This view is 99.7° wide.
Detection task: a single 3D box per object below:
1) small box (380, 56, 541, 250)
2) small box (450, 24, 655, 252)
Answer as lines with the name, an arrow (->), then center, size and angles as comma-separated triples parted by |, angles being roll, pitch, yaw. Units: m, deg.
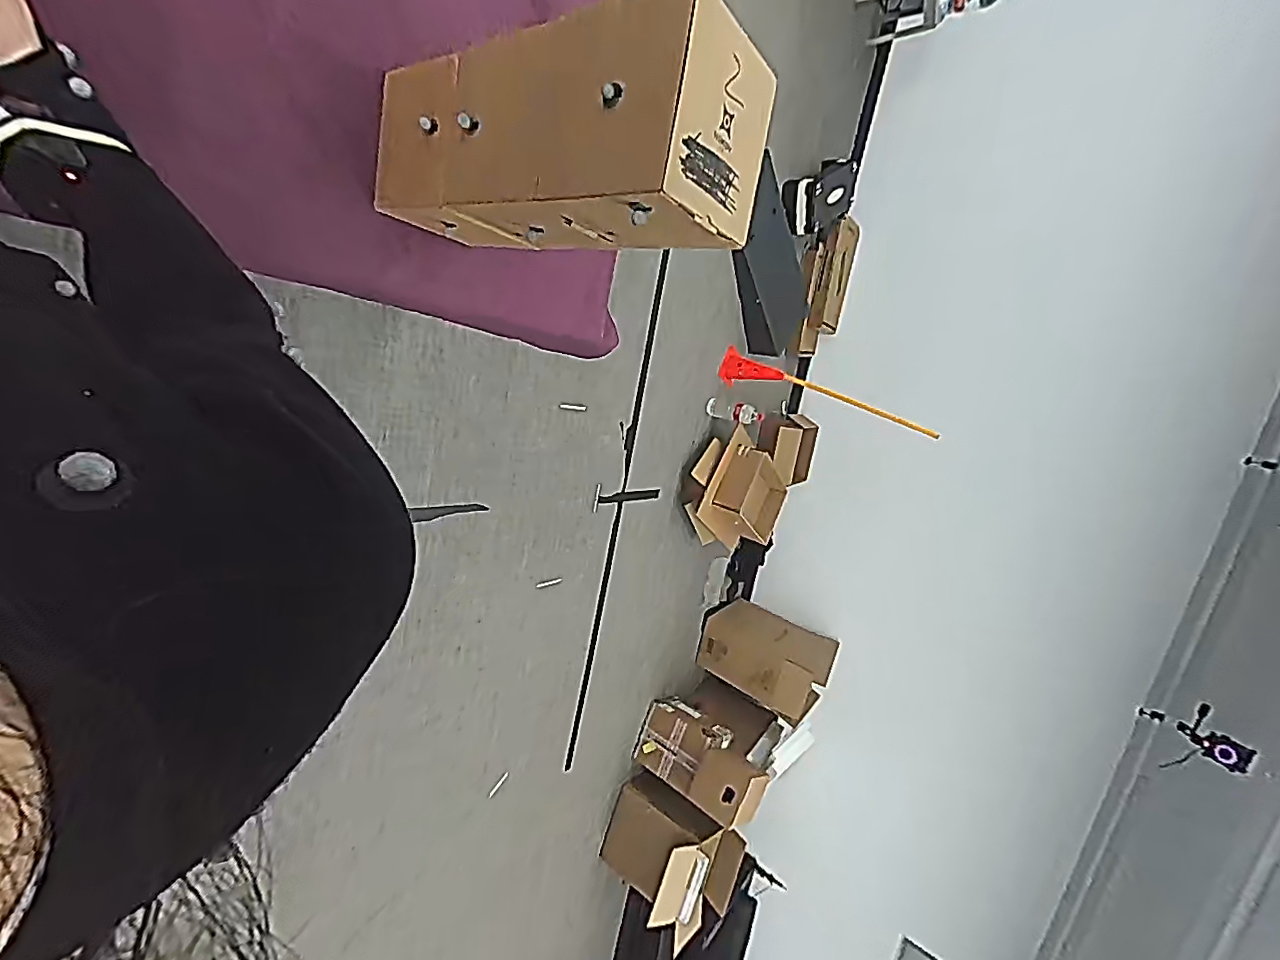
small box -> -0.241, -0.439, 0.758 | 0.168, 0.176, 0.179 | -4, 108, -54
small box -> -0.110, -0.399, 0.667 | 0.168, 0.176, 0.179 | -2, 107, -54
